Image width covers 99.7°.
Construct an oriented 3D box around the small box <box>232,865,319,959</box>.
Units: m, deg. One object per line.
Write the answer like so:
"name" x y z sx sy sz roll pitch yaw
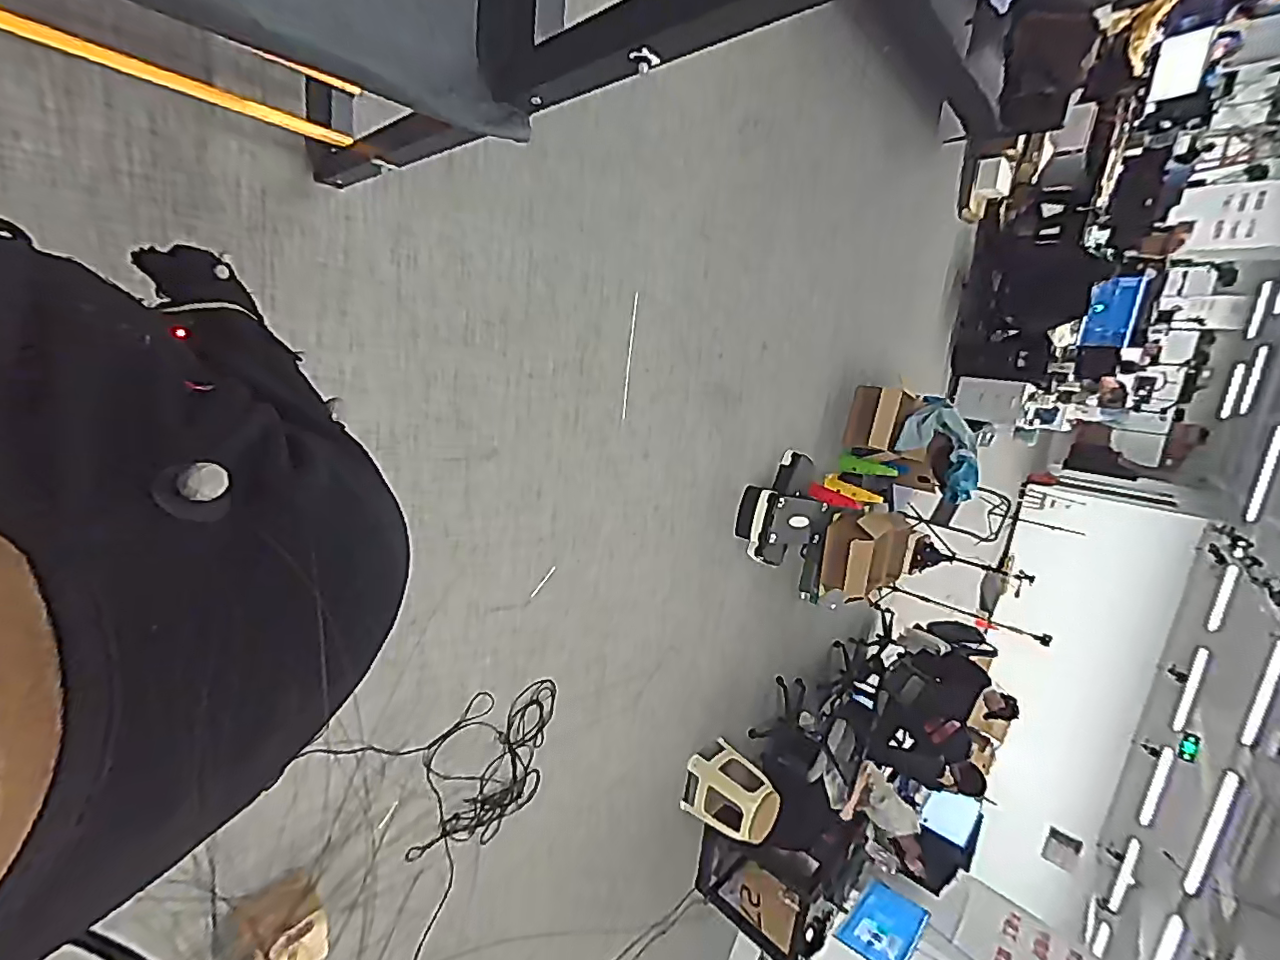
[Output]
"small box" -1.015 1.224 1.506 0.168 0.176 0.179 -9 111 -47
